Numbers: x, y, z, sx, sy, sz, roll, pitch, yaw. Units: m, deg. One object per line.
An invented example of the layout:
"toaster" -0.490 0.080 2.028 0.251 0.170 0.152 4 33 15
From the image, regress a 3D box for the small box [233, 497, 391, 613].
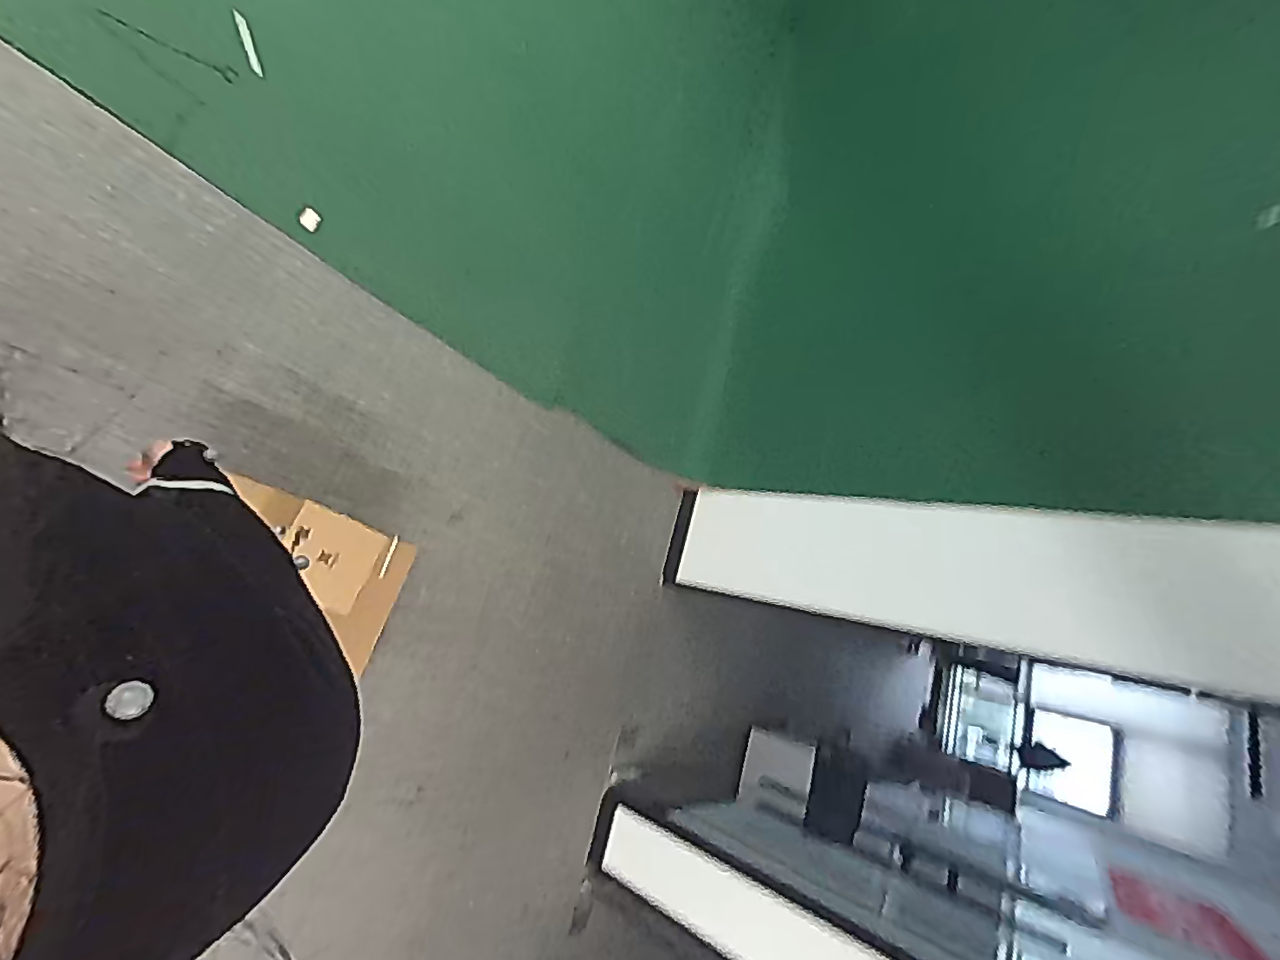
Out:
"small box" -0.637 0.141 1.054 0.179 0.176 0.168 43 60 -46
